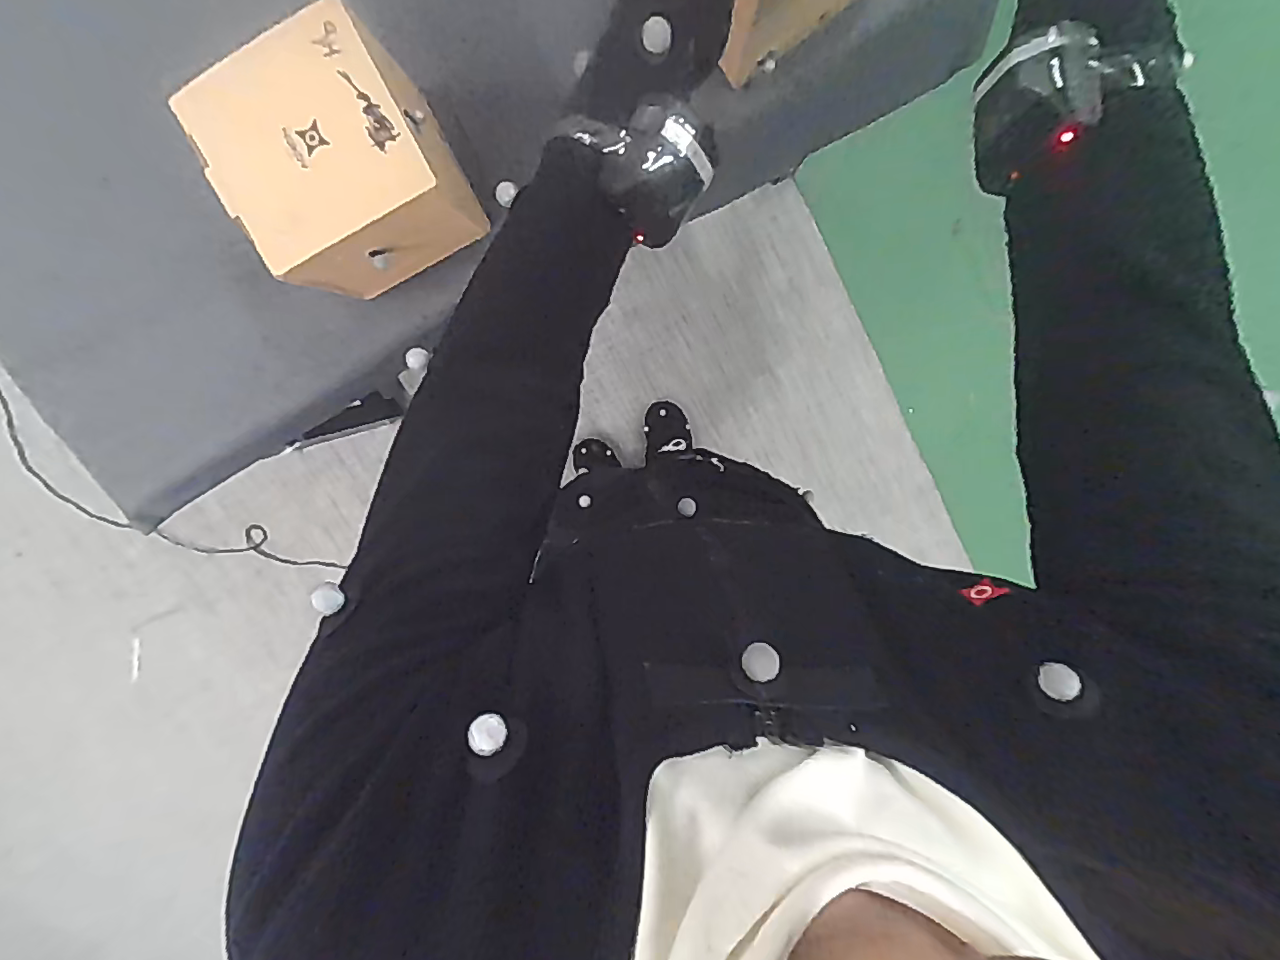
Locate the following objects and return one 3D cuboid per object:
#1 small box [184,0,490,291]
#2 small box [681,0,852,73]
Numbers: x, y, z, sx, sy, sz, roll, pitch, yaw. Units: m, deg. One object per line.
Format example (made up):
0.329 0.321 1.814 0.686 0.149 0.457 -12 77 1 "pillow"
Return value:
-0.284 -0.312 0.551 0.179 0.176 0.168 -25 100 7 "small box"
0.120 -0.523 0.493 0.168 0.176 0.179 -33 98 8 "small box"
